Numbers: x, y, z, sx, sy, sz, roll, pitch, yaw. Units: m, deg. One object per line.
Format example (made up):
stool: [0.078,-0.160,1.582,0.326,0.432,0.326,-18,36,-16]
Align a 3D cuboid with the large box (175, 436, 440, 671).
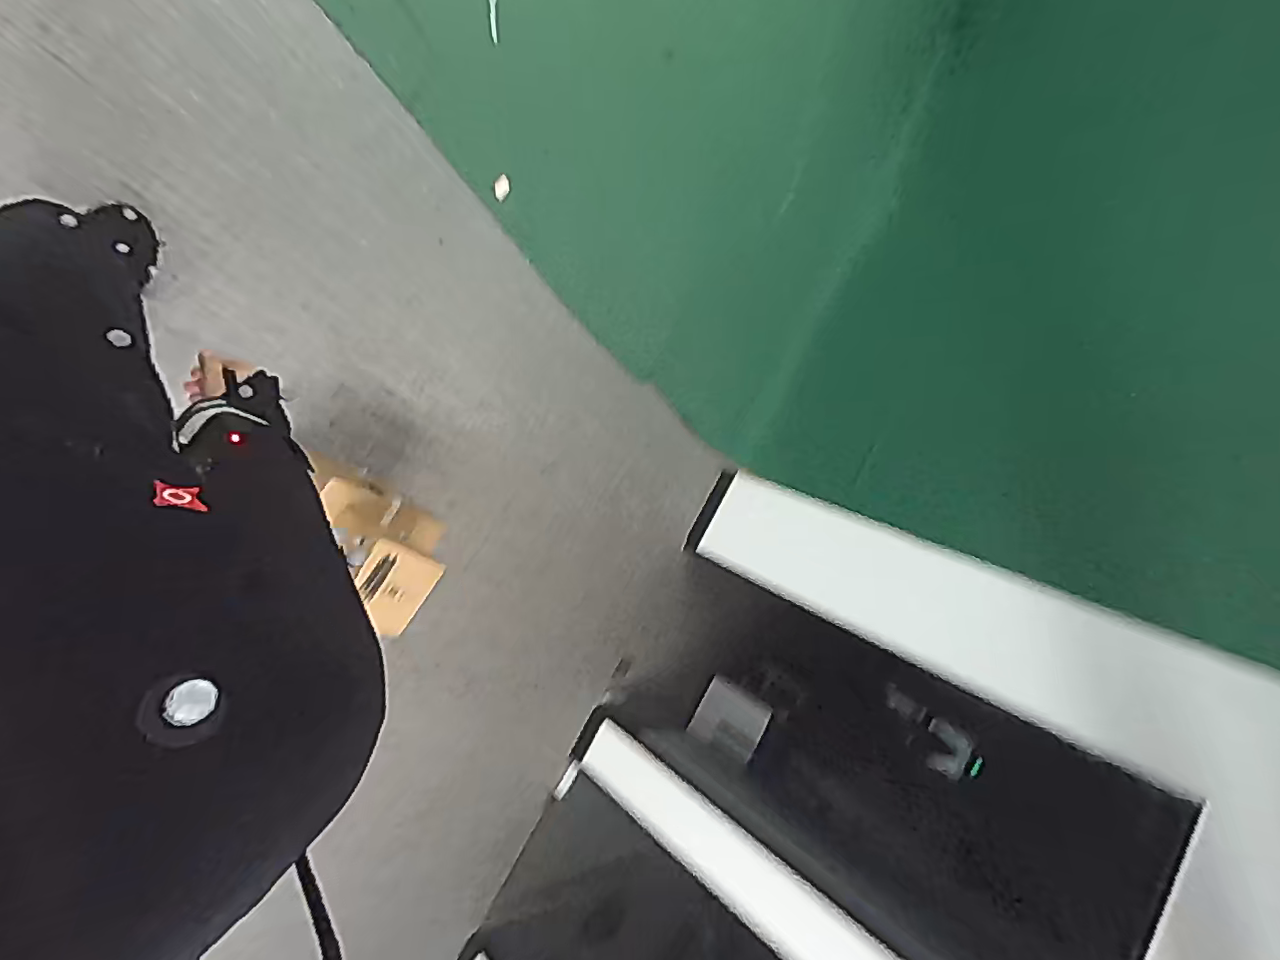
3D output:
large box: [-0.759,0.170,1.254,0.408,0.320,0.320,-59,144,-7]
